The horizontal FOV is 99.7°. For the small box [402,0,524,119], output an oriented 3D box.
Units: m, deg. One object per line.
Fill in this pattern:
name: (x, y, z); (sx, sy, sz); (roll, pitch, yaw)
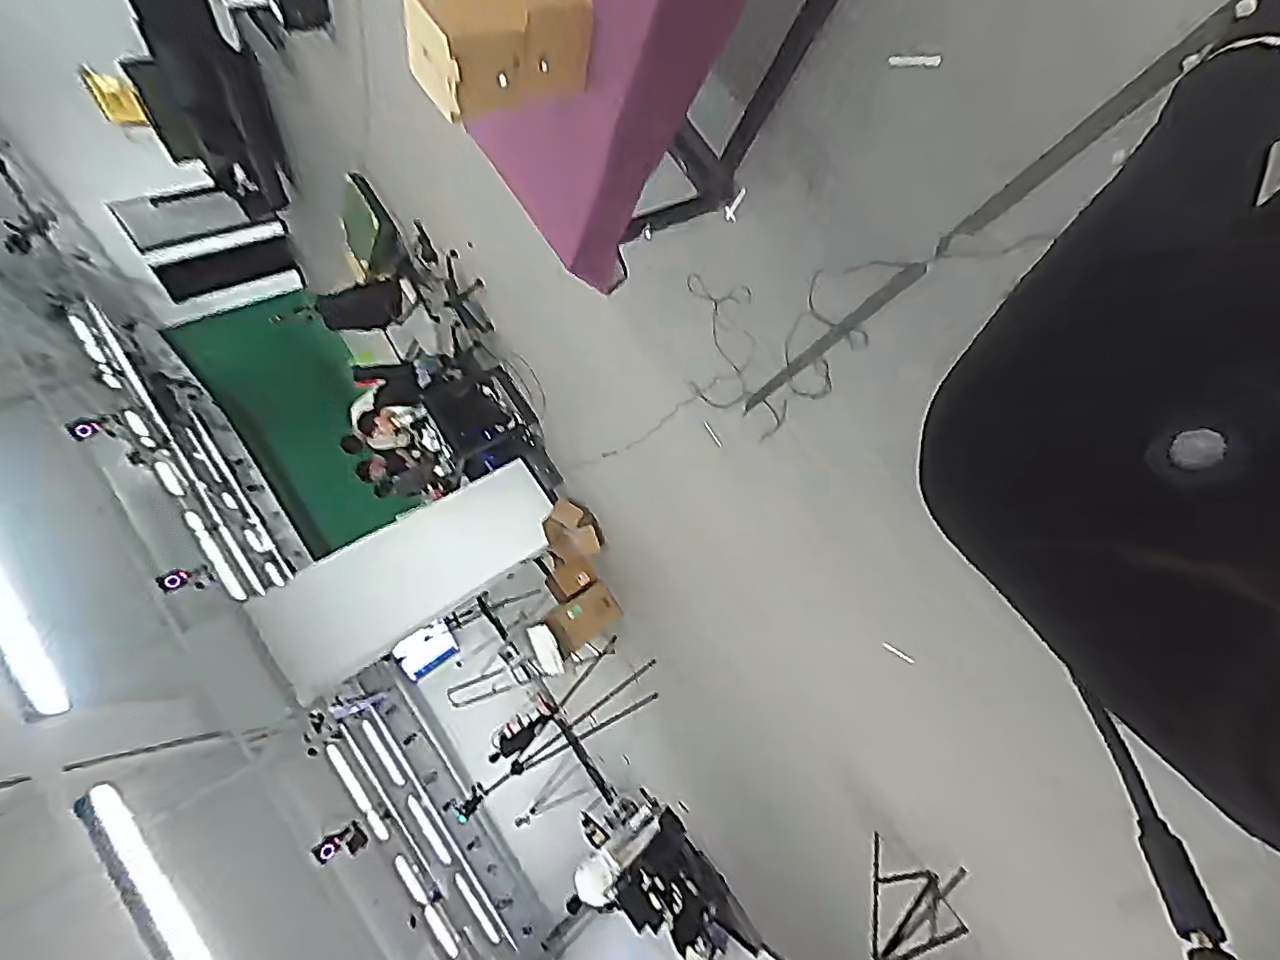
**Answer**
small box: (-0.360, -0.883, 1.101); (0.179, 0.176, 0.168); (53, 153, 9)

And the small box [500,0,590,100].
small box: (-0.224, -0.962, 1.156); (0.168, 0.176, 0.179); (51, 151, 14)
